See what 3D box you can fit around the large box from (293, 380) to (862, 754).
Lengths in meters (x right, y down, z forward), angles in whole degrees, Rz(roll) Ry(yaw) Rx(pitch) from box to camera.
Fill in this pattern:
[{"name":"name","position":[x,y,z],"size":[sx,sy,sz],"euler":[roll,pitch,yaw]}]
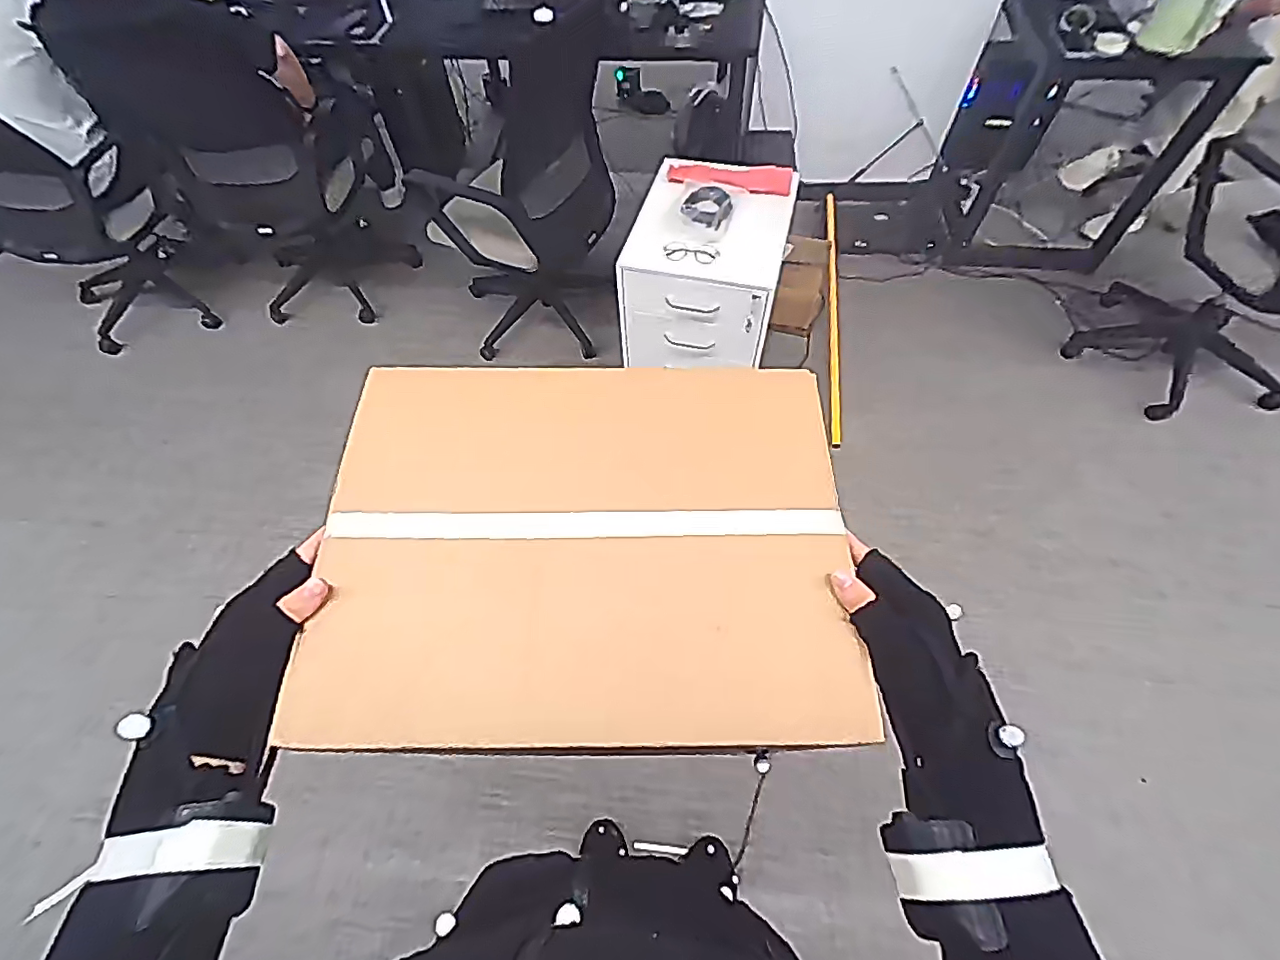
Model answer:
[{"name":"large box","position":[-0.044,0.112,0.572],"size":[0.408,0.320,0.320],"euler":[0,62,-1]}]
